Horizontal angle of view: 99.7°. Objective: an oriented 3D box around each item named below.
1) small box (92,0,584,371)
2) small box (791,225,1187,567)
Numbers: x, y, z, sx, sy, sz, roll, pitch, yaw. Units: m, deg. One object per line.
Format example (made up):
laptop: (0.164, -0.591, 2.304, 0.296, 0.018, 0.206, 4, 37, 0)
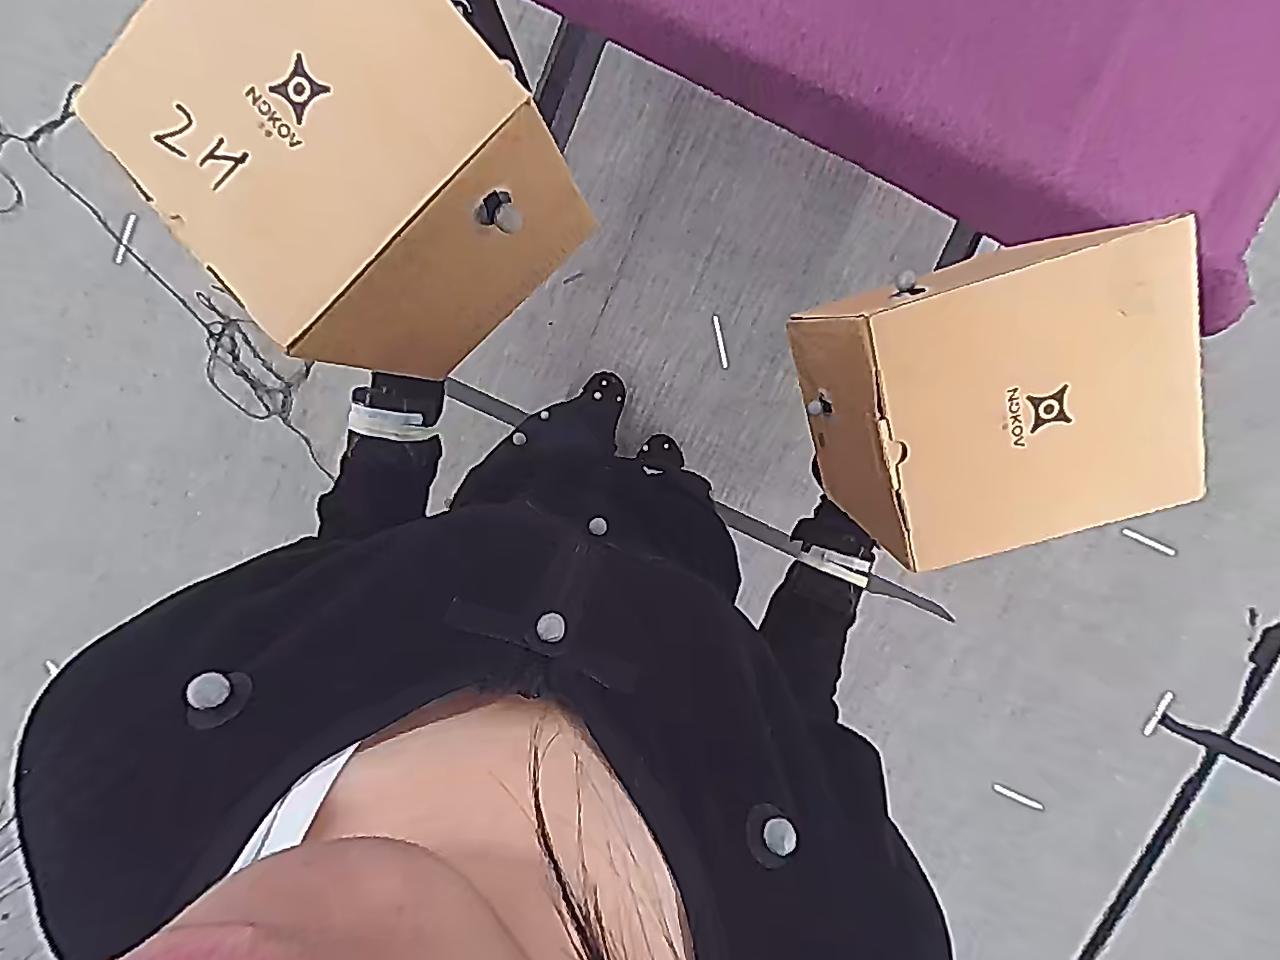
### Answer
small box: (-0.152, -0.190, 0.340, 0.179, 0.176, 0.168, -40, 90, 9)
small box: (0.230, -0.065, 0.394, 0.179, 0.176, 0.168, -17, 106, 5)
